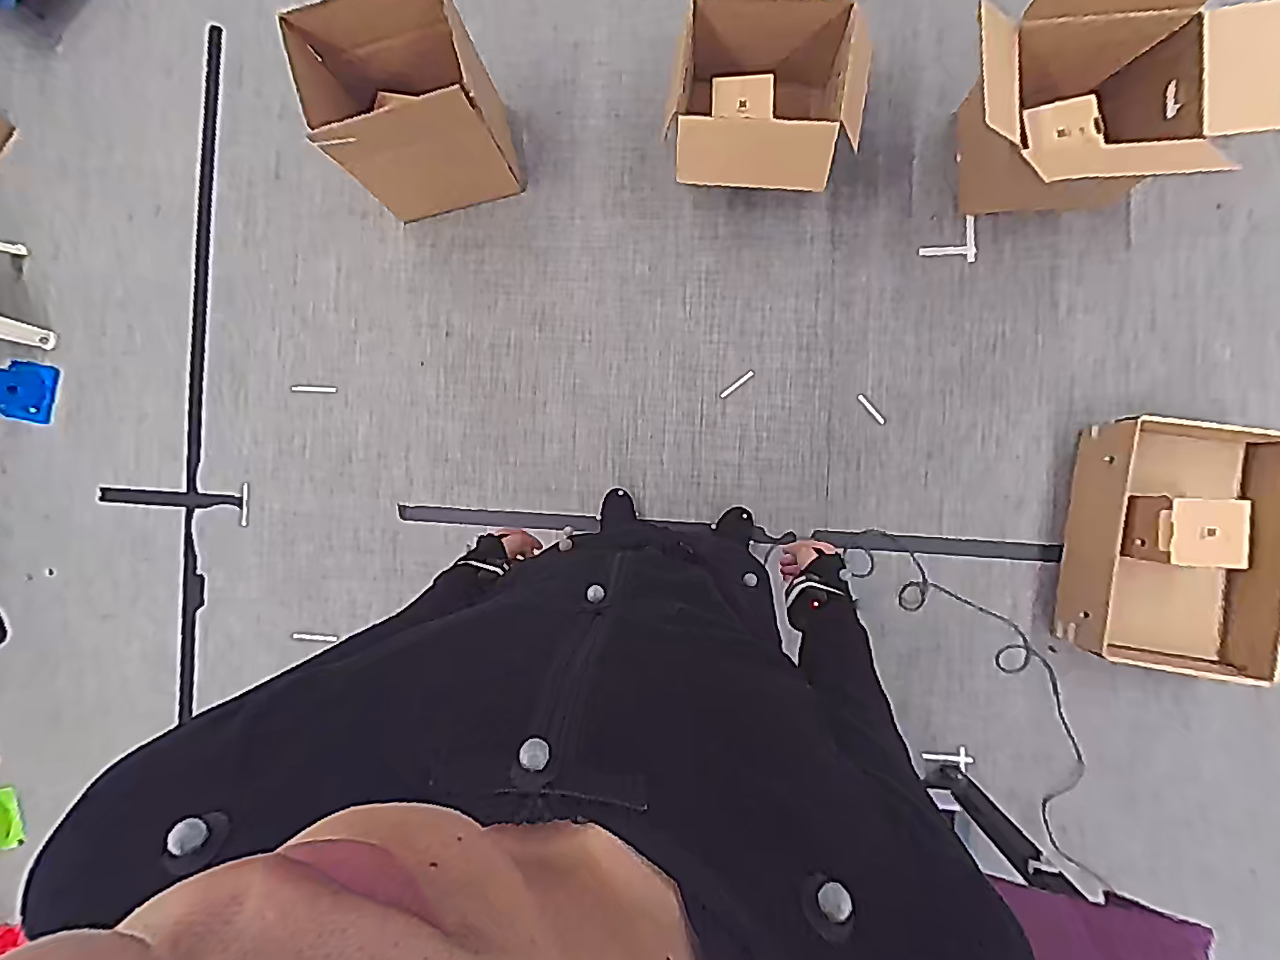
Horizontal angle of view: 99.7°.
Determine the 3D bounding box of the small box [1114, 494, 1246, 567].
[{"bbox_3d":[1.365,0.124,1.378,0.179,0.176,0.168,3,91,5],"label":"small box"}]
